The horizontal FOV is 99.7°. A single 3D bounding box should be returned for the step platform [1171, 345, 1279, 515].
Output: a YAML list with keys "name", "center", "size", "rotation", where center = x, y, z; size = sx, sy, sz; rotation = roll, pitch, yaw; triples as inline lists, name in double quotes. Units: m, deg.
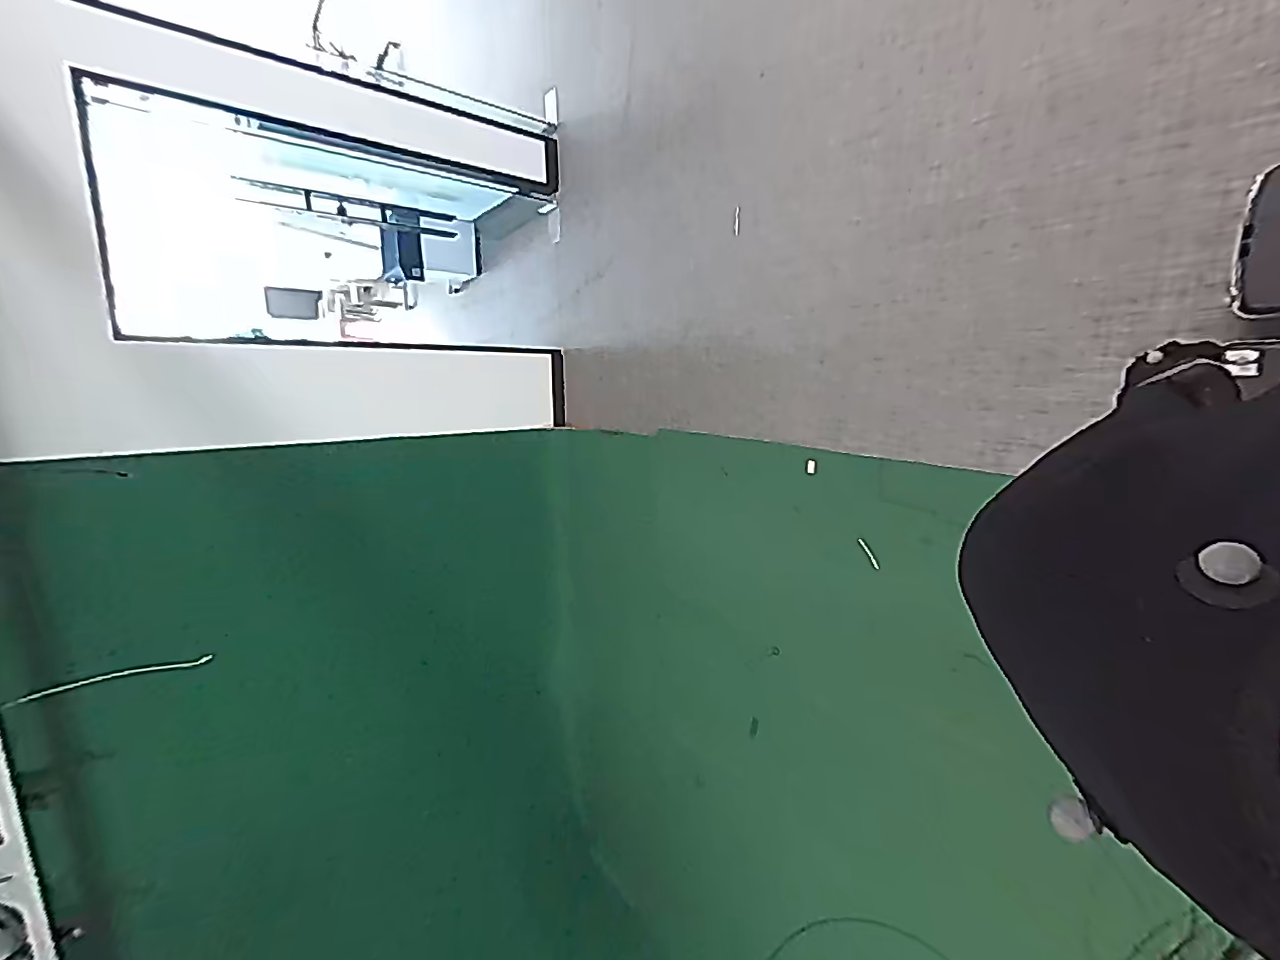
- name: "step platform"
  center: [1.234, -0.053, 0.755]
  size: [0.684, 0.204, 0.286]
  rotation: [13, 106, 50]
